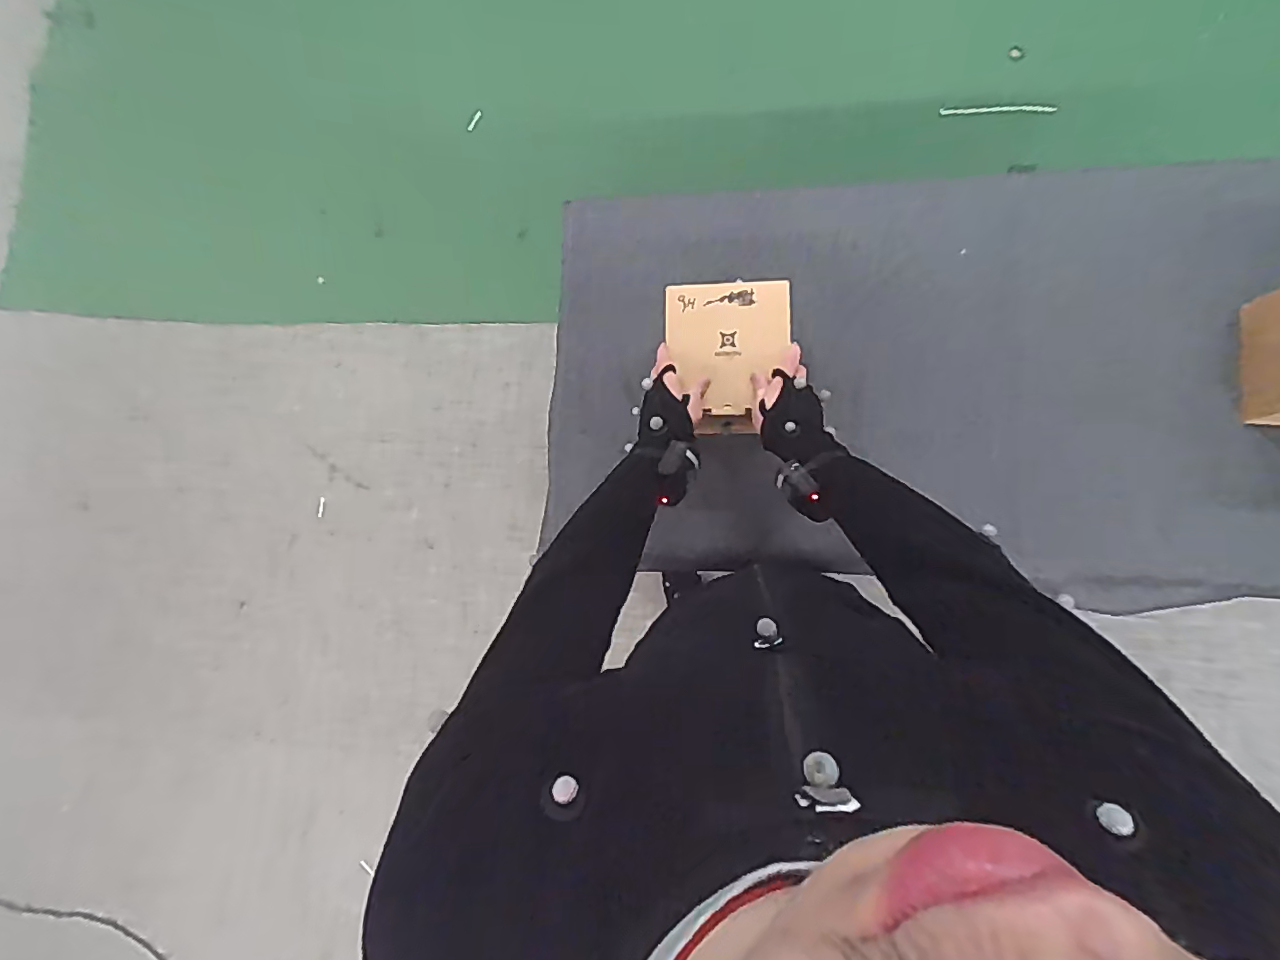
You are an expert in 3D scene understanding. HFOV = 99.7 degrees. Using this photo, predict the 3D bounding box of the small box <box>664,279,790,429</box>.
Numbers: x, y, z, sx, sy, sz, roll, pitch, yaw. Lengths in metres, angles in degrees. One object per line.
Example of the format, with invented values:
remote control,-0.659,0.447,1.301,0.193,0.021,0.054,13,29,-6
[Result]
small box,0.124,-0.170,0.787,0.168,0.176,0.179,0,85,7

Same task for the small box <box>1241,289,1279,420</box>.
small box,0.924,-0.170,0.678,0.168,0.176,0.179,4,83,7
